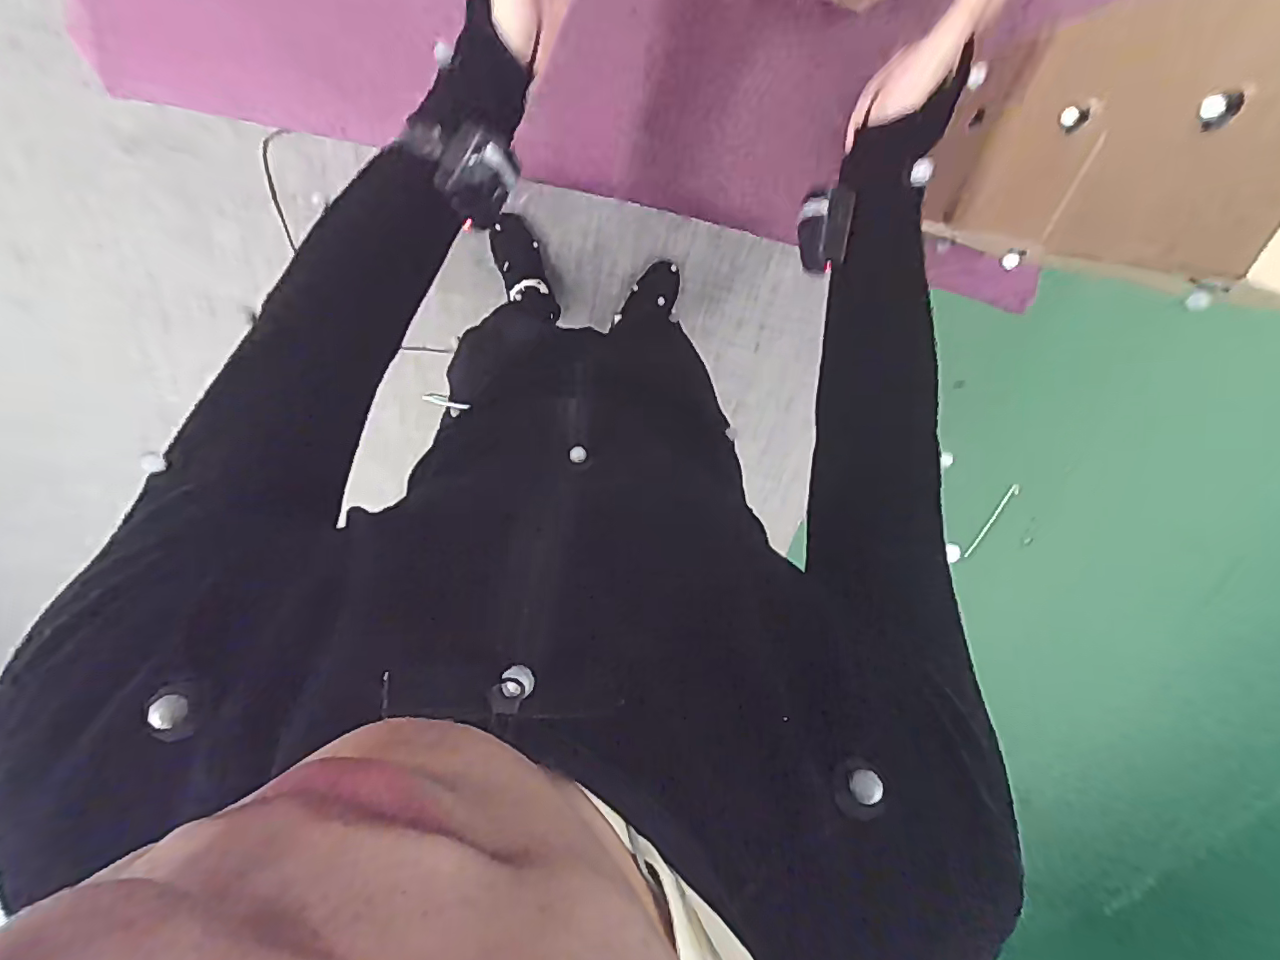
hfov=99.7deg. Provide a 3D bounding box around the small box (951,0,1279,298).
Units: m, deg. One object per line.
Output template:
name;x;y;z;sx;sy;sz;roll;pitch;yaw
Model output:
small box;0.423;-0.286;0.481;0.168;0.176;0.179;15;119;-8

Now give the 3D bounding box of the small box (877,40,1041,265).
small box;0.416;-0.365;0.624;0.179;0.176;0.168;14;118;-9
